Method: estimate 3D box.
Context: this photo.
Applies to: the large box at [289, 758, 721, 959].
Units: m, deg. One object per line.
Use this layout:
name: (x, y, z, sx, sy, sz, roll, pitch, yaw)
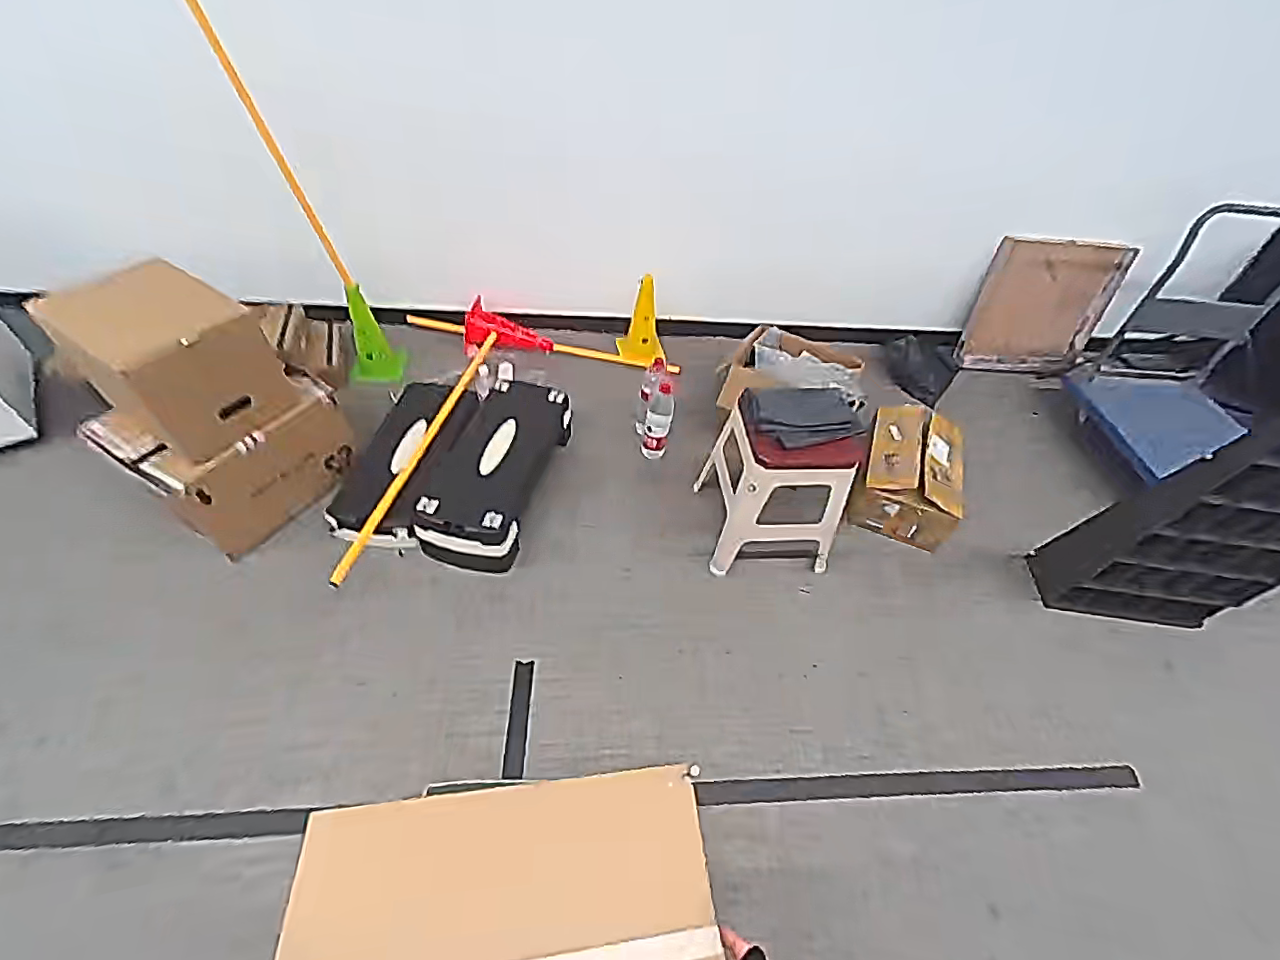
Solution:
large box: (-0.135, 0.549, 0.614, 0.408, 0.320, 0.320, -2, 50, -9)
